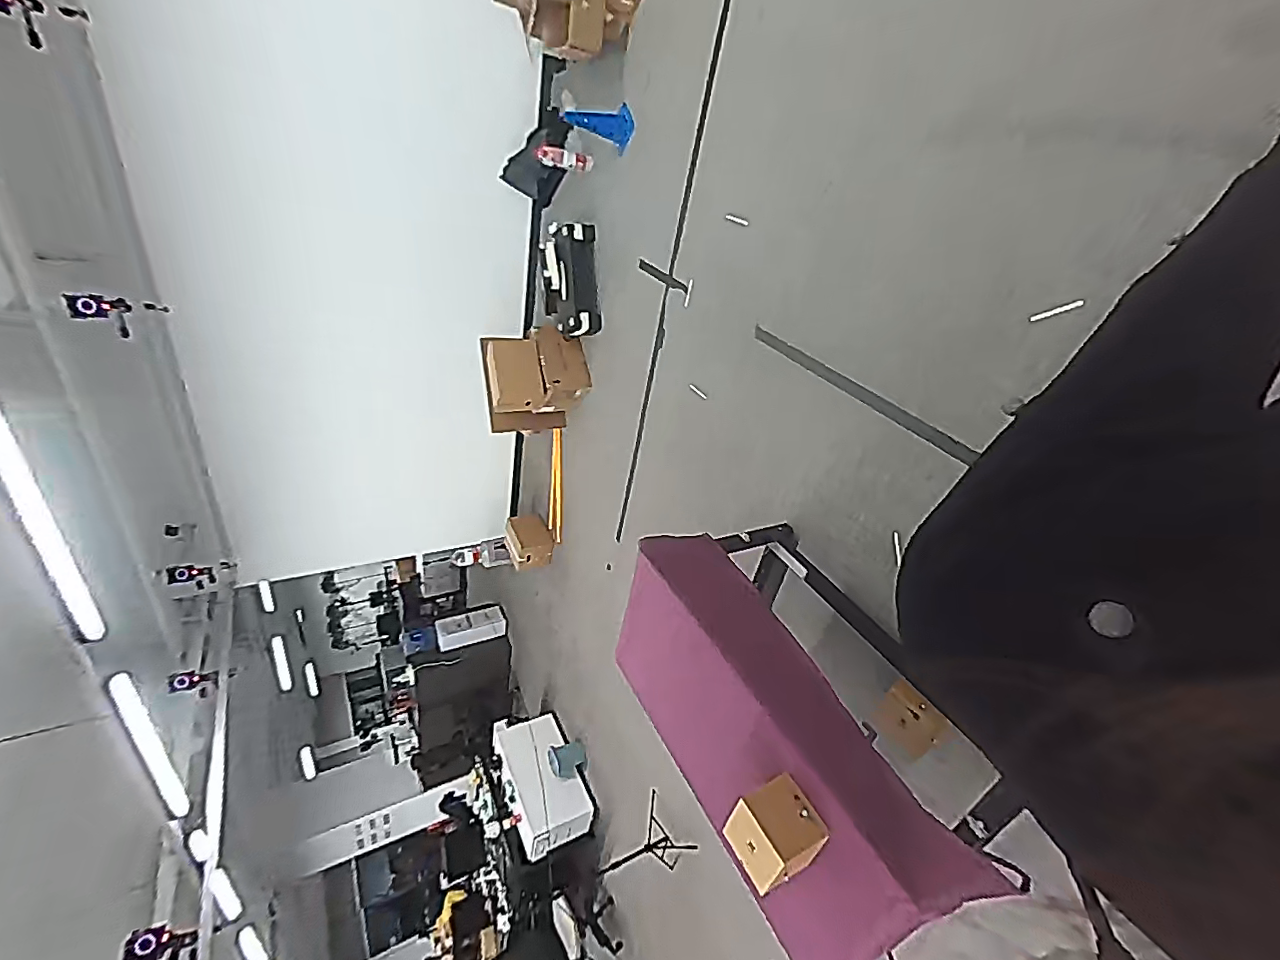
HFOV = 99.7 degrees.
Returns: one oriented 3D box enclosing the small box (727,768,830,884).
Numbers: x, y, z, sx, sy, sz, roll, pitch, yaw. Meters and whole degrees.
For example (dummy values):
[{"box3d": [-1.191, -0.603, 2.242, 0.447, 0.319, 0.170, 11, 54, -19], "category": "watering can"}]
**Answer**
[{"box3d": [0.356, 0.886, 1.393, 0.168, 0.176, 0.179, 50, 138, 43], "category": "small box"}]
